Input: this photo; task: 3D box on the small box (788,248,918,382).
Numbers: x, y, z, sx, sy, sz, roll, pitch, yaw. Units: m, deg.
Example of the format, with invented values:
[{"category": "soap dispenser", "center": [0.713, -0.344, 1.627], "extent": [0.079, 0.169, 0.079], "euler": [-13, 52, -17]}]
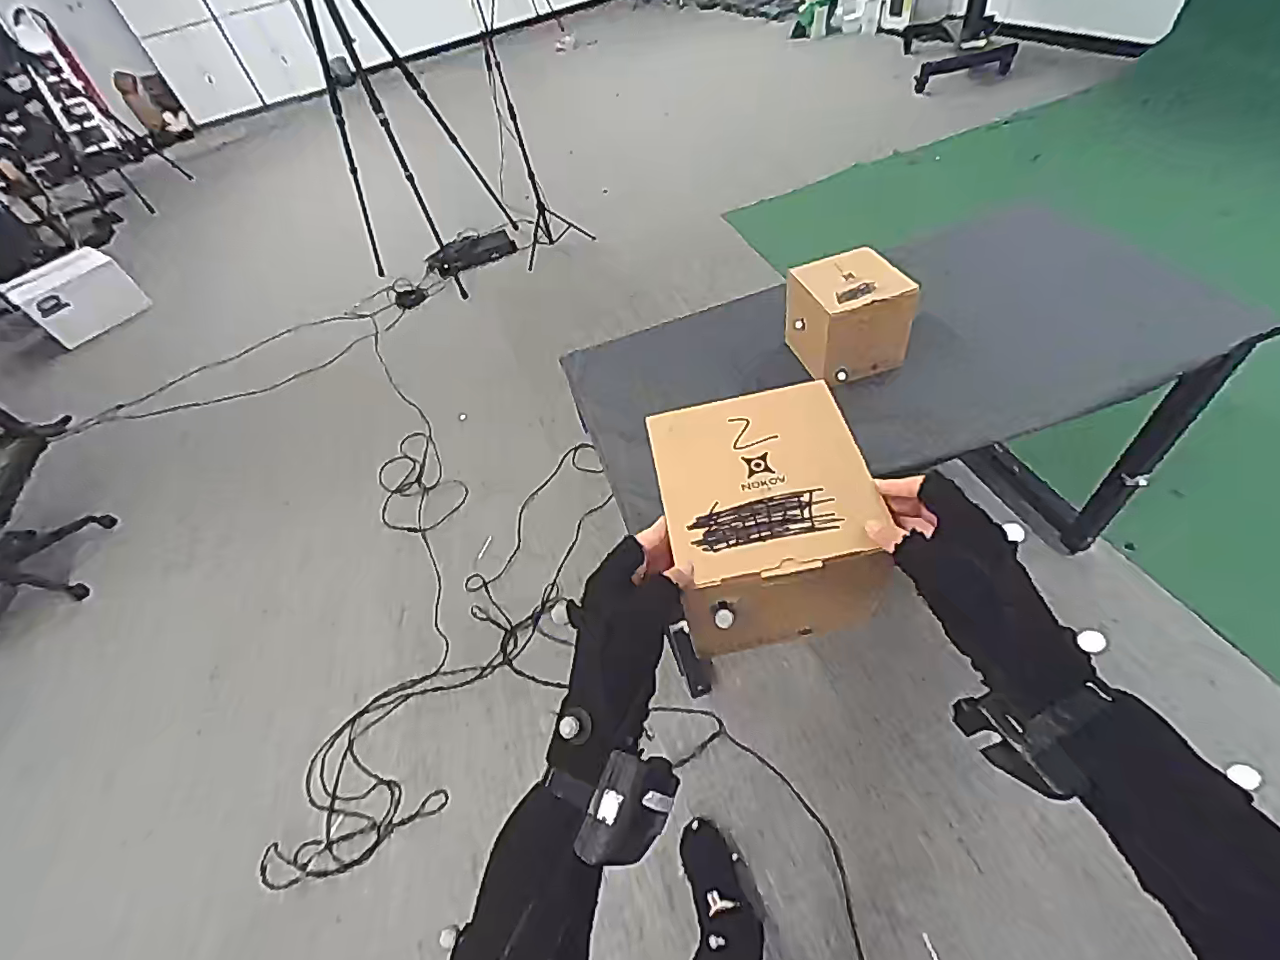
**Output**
[{"category": "small box", "center": [0.396, -0.307, 1.035], "extent": [0.168, 0.176, 0.179], "euler": [-17, 48, -2]}]
